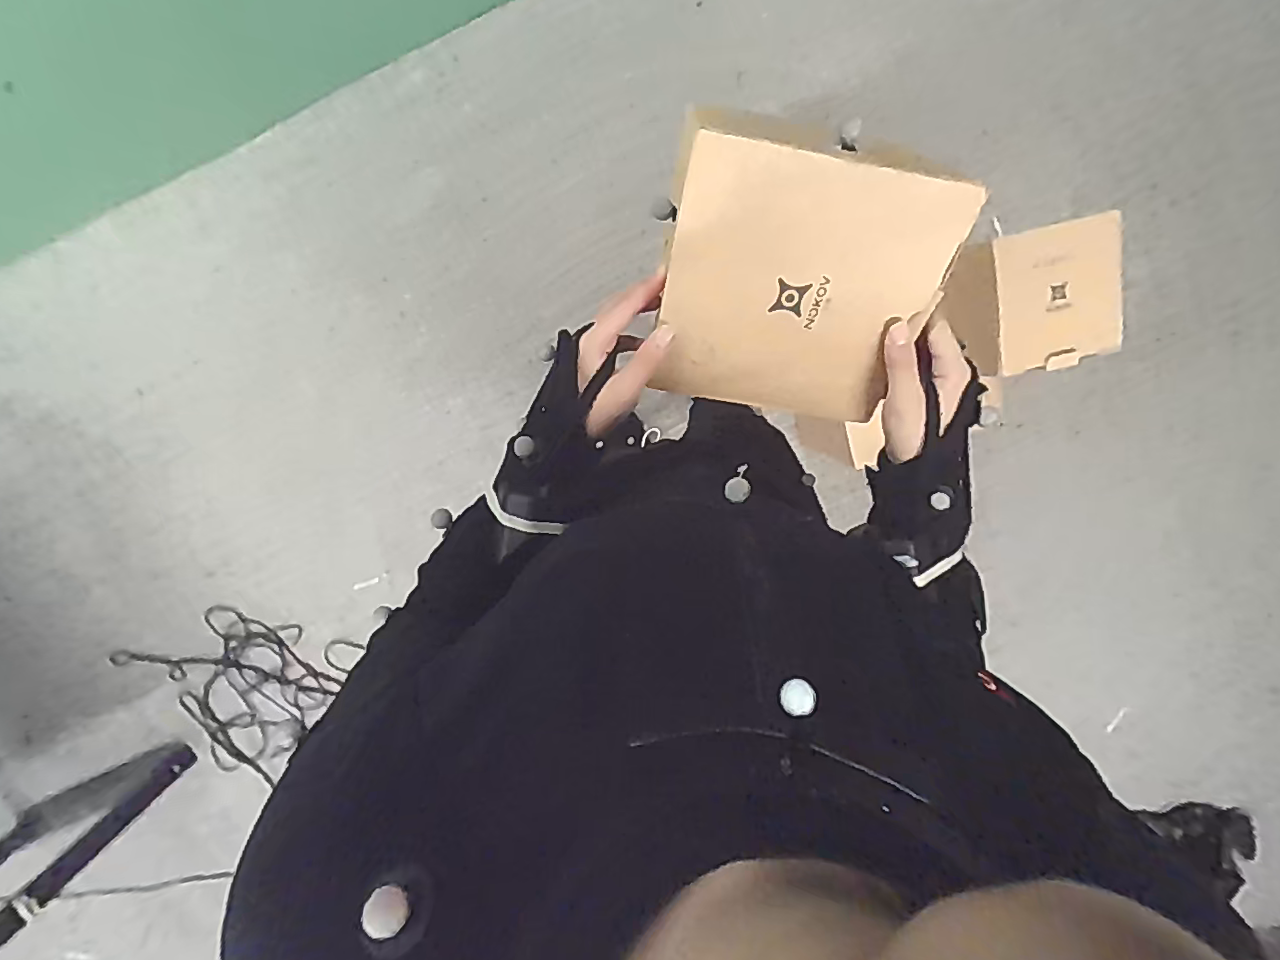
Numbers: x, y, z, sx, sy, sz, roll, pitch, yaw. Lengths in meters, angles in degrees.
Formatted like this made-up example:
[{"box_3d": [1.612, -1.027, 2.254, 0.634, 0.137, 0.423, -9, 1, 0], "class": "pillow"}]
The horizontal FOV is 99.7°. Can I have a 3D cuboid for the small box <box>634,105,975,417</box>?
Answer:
[{"box_3d": [0.096, -0.171, 0.411, 0.179, 0.176, 0.168, 8, 129, -4], "class": "small box"}]

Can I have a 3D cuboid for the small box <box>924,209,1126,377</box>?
[{"box_3d": [0.525, -0.250, 0.758, 0.168, 0.176, 0.179, -14, 102, 0], "class": "small box"}]

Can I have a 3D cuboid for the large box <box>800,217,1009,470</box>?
[{"box_3d": [0.512, -0.282, 1.167, 0.320, 0.320, 0.408, -18, 103, 3], "class": "large box"}]
